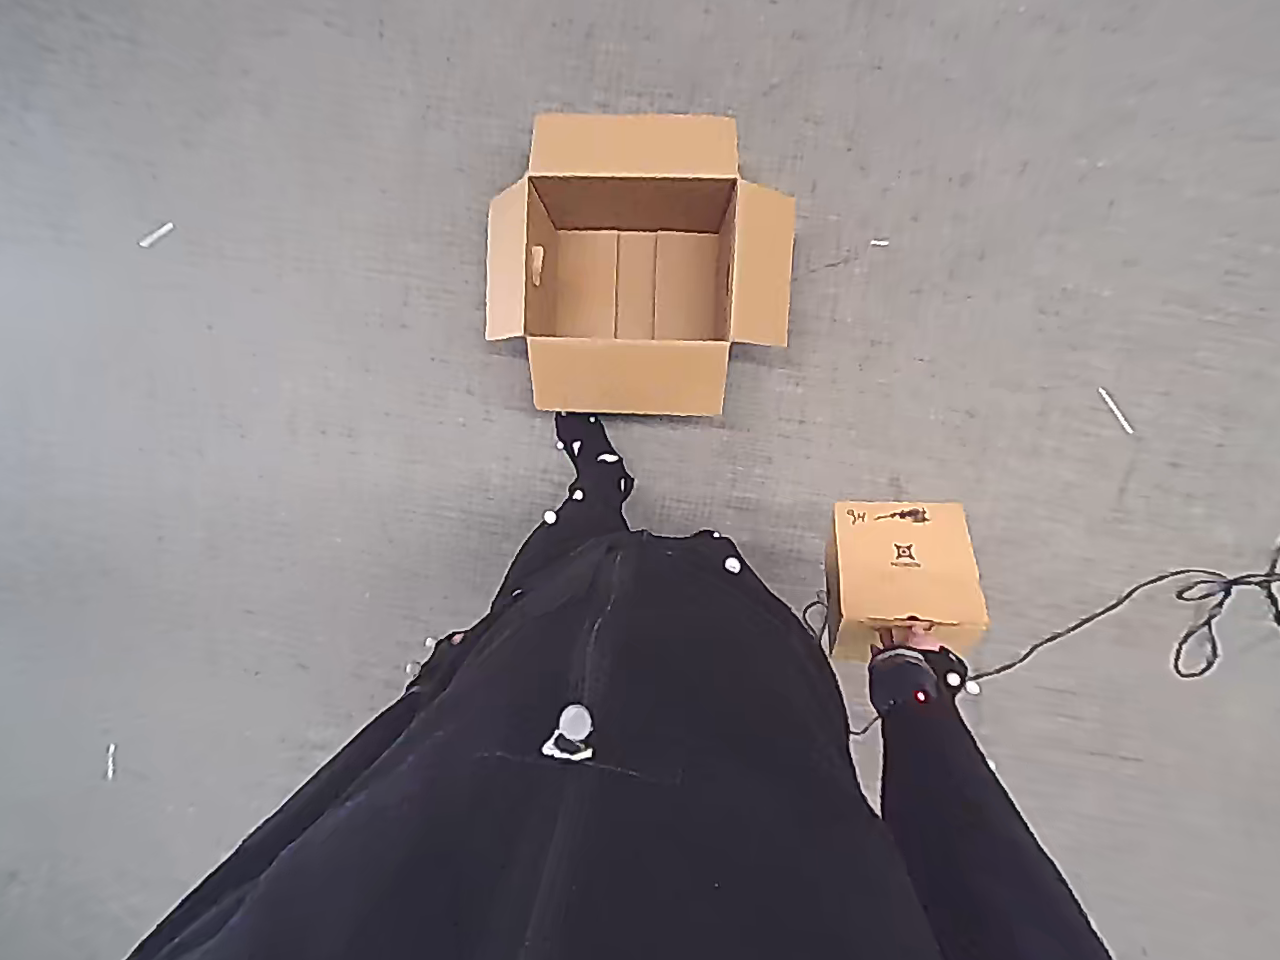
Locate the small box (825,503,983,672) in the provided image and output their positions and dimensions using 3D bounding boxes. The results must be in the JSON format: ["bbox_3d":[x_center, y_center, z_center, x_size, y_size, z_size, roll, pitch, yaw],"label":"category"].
[{"bbox_3d":[0.353,0.153,0.758,0.168,0.176,0.179,2,53,15],"label":"small box"}]
